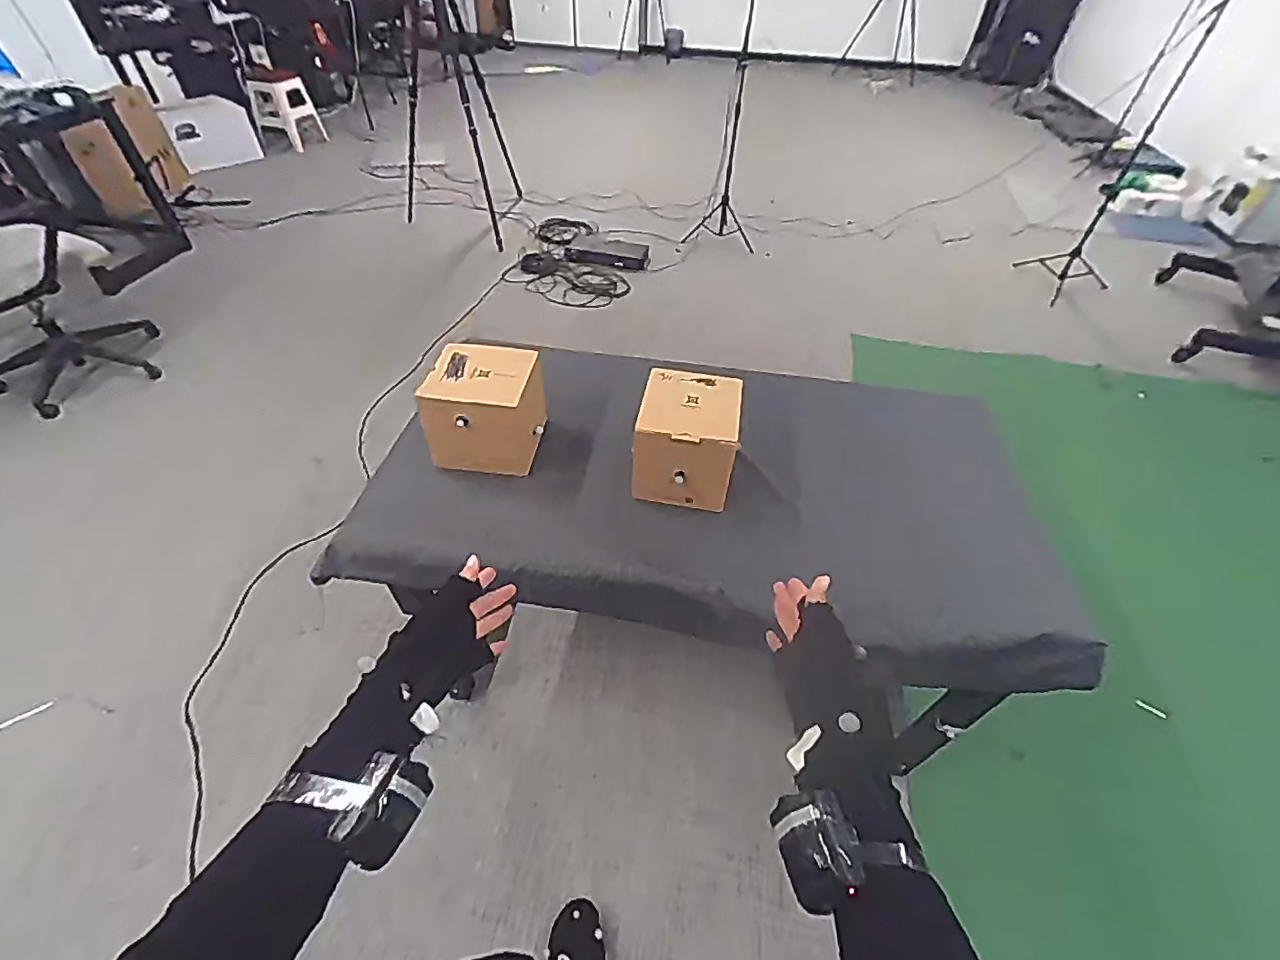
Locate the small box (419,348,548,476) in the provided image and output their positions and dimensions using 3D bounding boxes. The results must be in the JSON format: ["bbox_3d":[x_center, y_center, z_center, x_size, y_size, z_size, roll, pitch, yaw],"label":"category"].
[{"bbox_3d":[-0.278,-0.124,1.006,0.179,0.176,0.168,6,47,2],"label":"small box"}]

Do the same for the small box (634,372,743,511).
[{"bbox_3d":[0.086,-0.066,0.969,0.168,0.176,0.179,9,47,6],"label":"small box"}]
